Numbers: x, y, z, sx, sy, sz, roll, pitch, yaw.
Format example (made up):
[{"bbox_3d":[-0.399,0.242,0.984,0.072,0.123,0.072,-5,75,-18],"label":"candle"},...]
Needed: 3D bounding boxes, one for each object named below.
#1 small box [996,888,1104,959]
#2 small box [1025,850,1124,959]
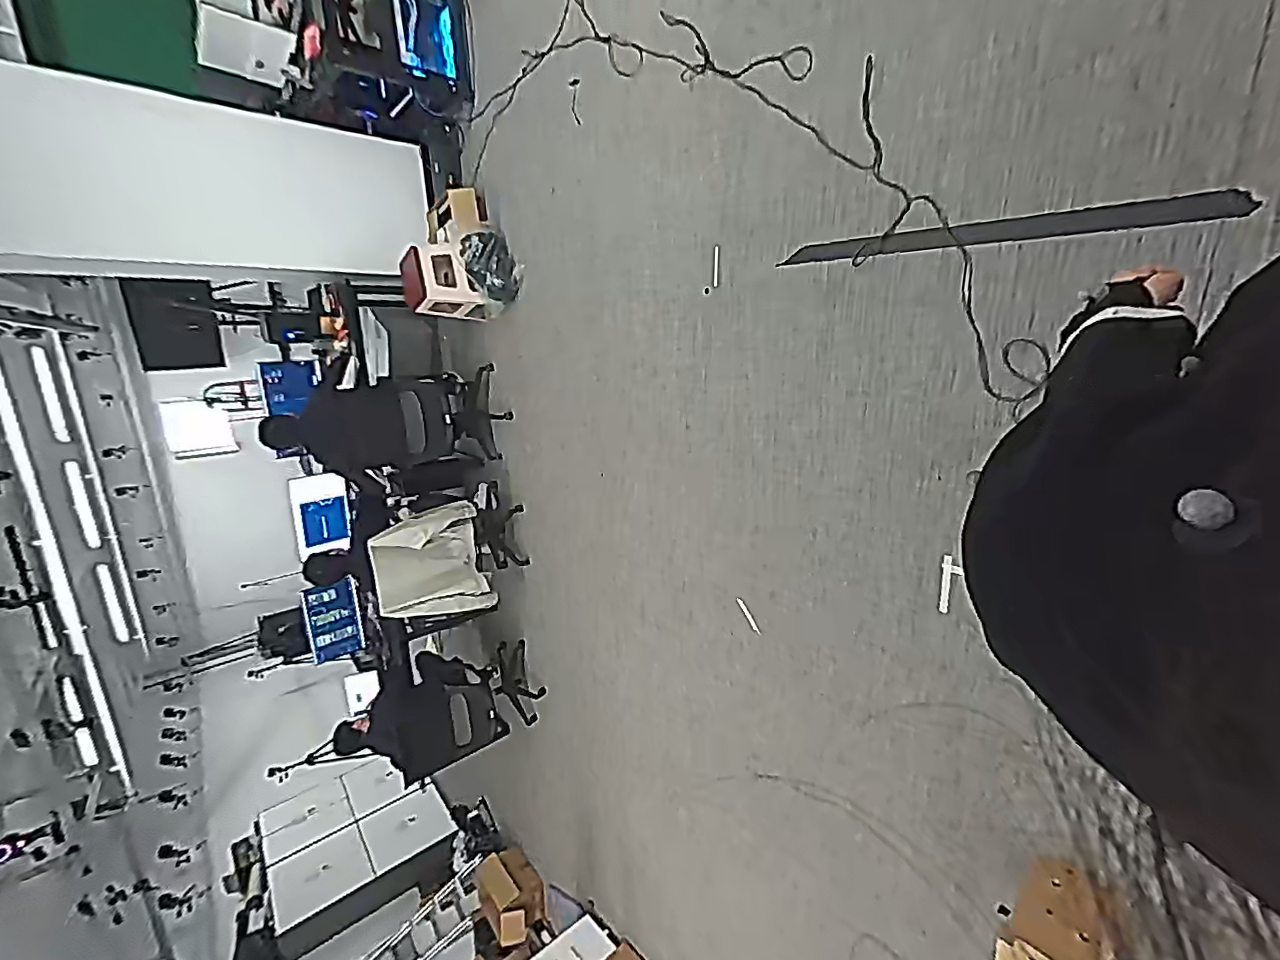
[{"bbox_3d":[0.951,1.117,1.258,0.168,0.176,0.179,12,111,50],"label":"small box"},{"bbox_3d":[1.082,1.087,1.354,0.168,0.176,0.179,11,111,51],"label":"small box"}]
